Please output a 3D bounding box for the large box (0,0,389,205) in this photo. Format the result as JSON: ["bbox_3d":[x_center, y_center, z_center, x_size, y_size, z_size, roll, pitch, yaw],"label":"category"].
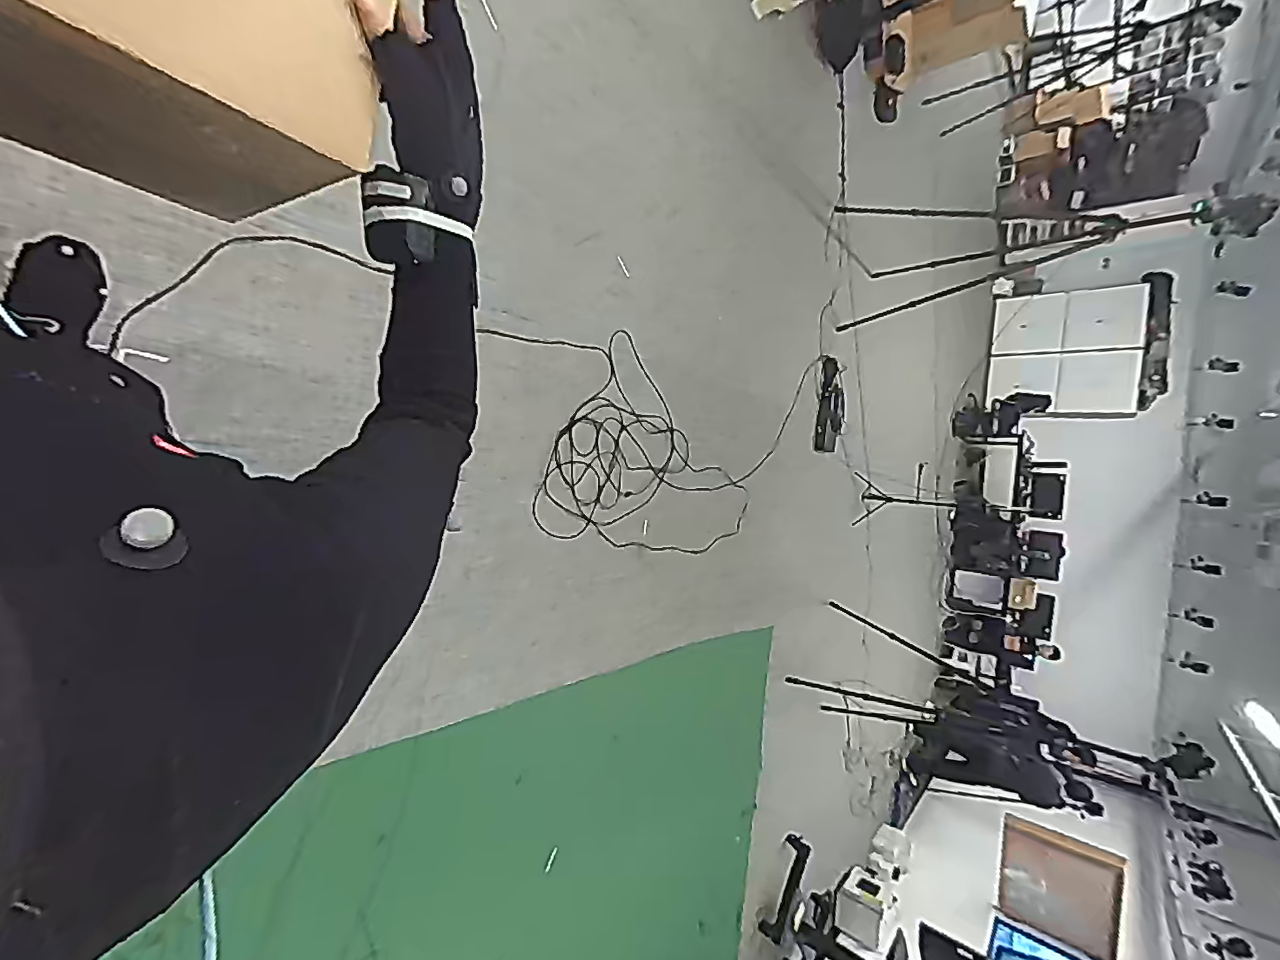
[{"bbox_3d":[-0.413,-0.427,0.327,0.408,0.320,0.320,7,96,-52],"label":"large box"}]
